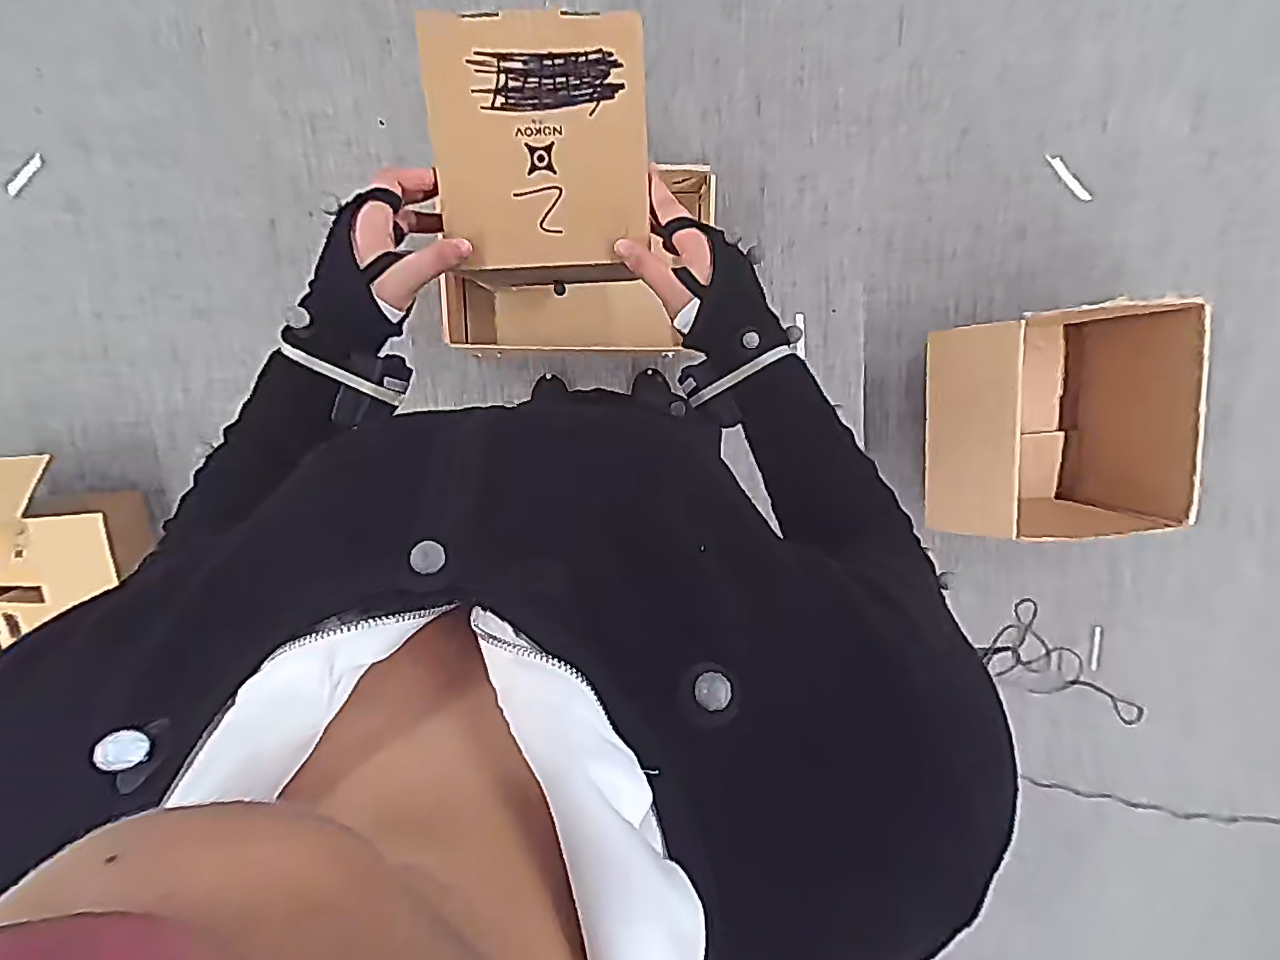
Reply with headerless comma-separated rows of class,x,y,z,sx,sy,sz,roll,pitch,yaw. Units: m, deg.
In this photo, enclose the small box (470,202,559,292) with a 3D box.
small box,-0.287,-0.539,1.270,0.179,0.176,0.168,0,103,-4
